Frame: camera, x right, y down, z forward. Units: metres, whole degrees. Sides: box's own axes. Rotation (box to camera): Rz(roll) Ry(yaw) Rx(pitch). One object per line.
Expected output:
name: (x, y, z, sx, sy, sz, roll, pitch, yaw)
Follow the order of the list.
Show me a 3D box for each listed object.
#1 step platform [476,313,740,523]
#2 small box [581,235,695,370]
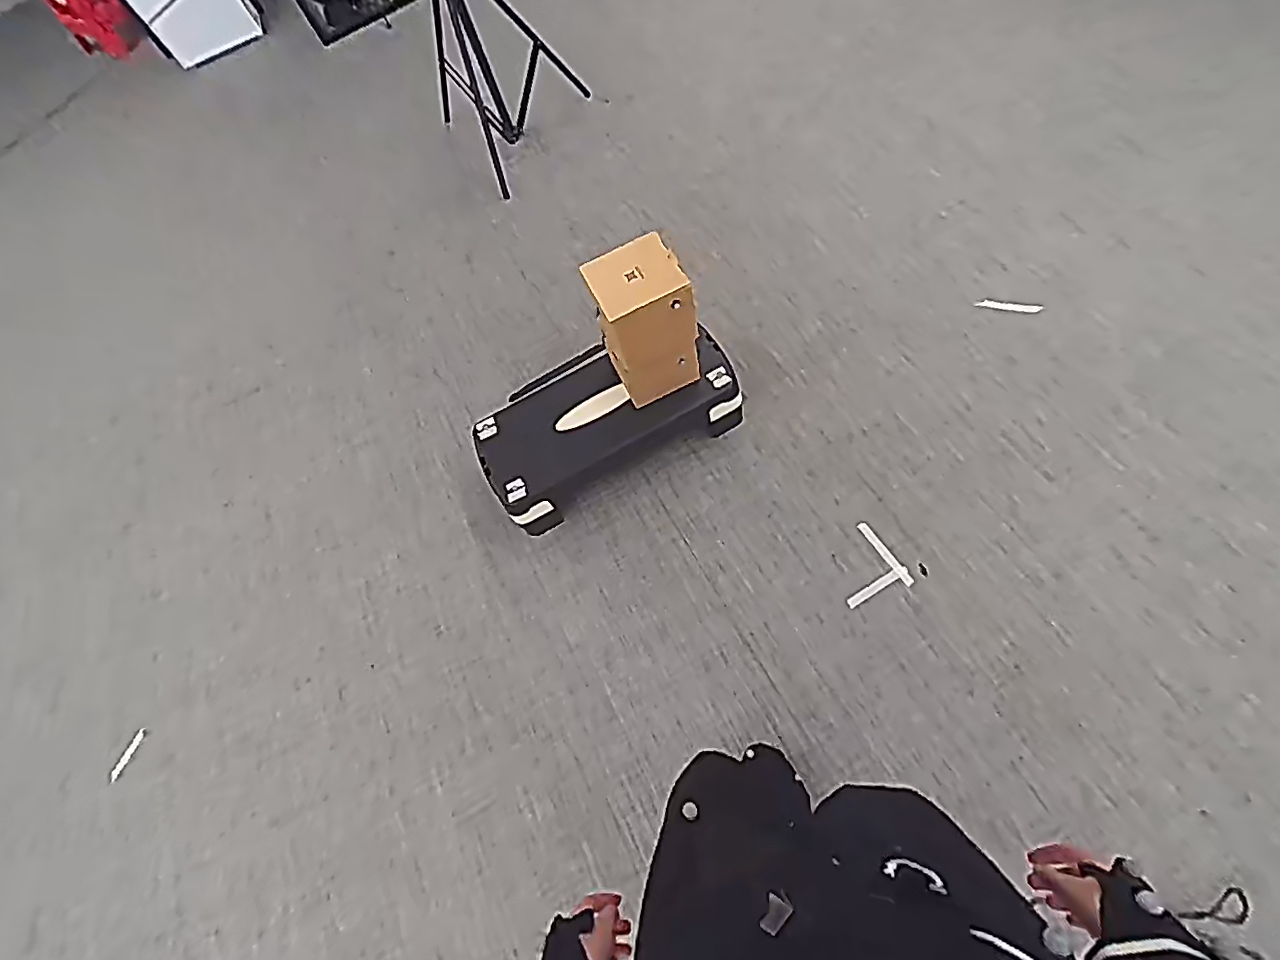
step platform: (-0.081, -0.172, 1.435, 0.684, 0.204, 0.286, -30, 64, -2)
small box: (0.002, -0.362, 1.129, 0.179, 0.176, 0.168, -26, 65, -2)
